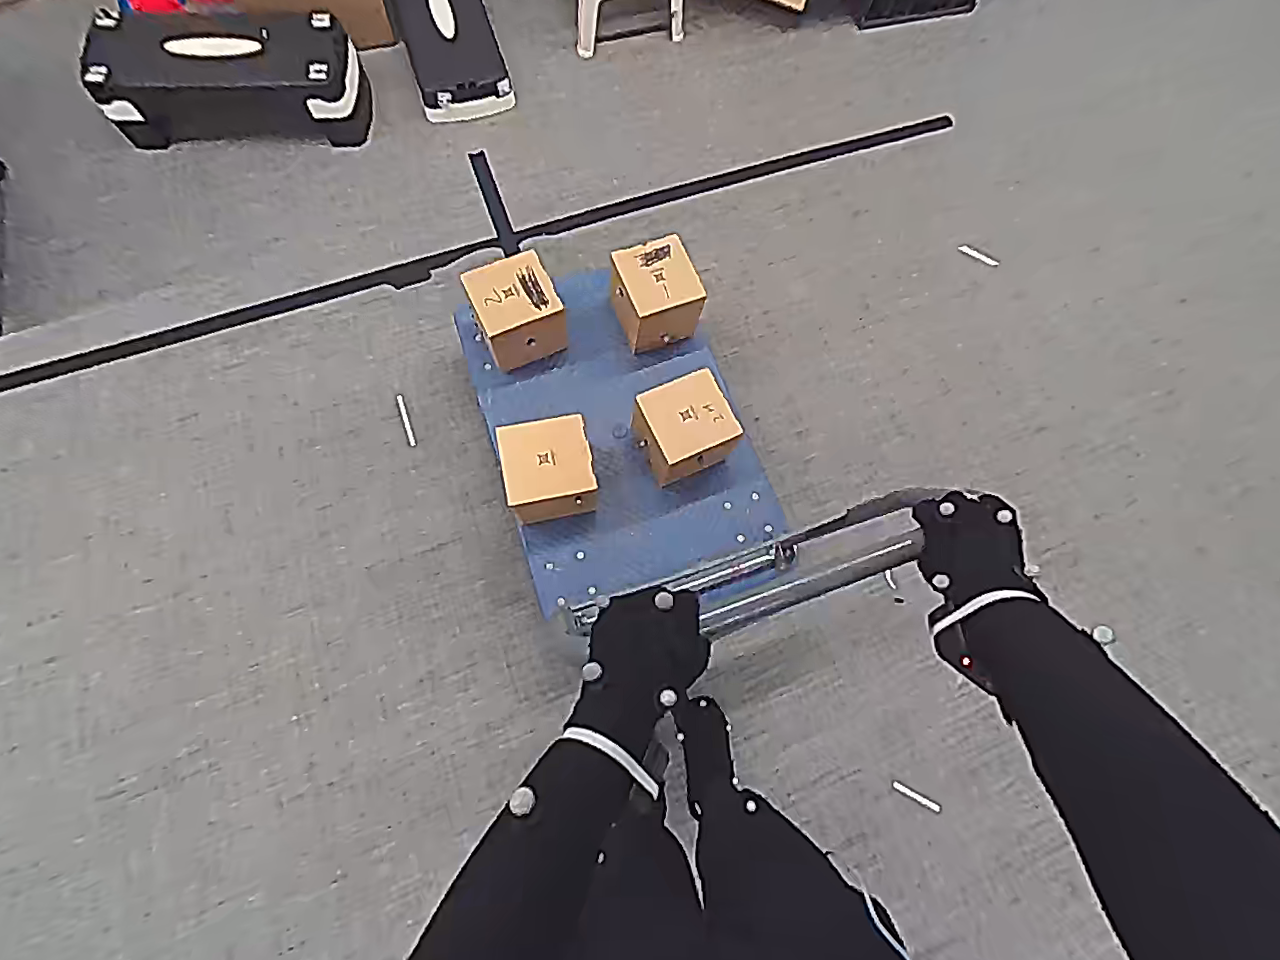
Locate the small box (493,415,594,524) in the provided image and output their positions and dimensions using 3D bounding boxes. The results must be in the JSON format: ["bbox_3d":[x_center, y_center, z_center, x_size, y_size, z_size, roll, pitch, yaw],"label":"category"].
[{"bbox_3d":[-0.195,-0.016,1.128,0.179,0.176,0.168,-12,74,-10],"label":"small box"}]

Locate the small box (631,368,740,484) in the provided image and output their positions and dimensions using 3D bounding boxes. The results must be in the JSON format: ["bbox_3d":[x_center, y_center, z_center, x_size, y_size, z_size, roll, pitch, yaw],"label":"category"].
[{"bbox_3d":[0.090,-0.110,1.179,0.179,0.176,0.168,-24,77,-11],"label":"small box"}]

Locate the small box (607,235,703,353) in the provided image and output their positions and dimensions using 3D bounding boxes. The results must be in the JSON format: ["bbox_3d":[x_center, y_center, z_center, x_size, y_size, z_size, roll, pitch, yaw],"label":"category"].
[{"bbox_3d":[0.027,-0.431,1.268,0.168,0.176,0.179,-21,78,-10],"label":"small box"}]
